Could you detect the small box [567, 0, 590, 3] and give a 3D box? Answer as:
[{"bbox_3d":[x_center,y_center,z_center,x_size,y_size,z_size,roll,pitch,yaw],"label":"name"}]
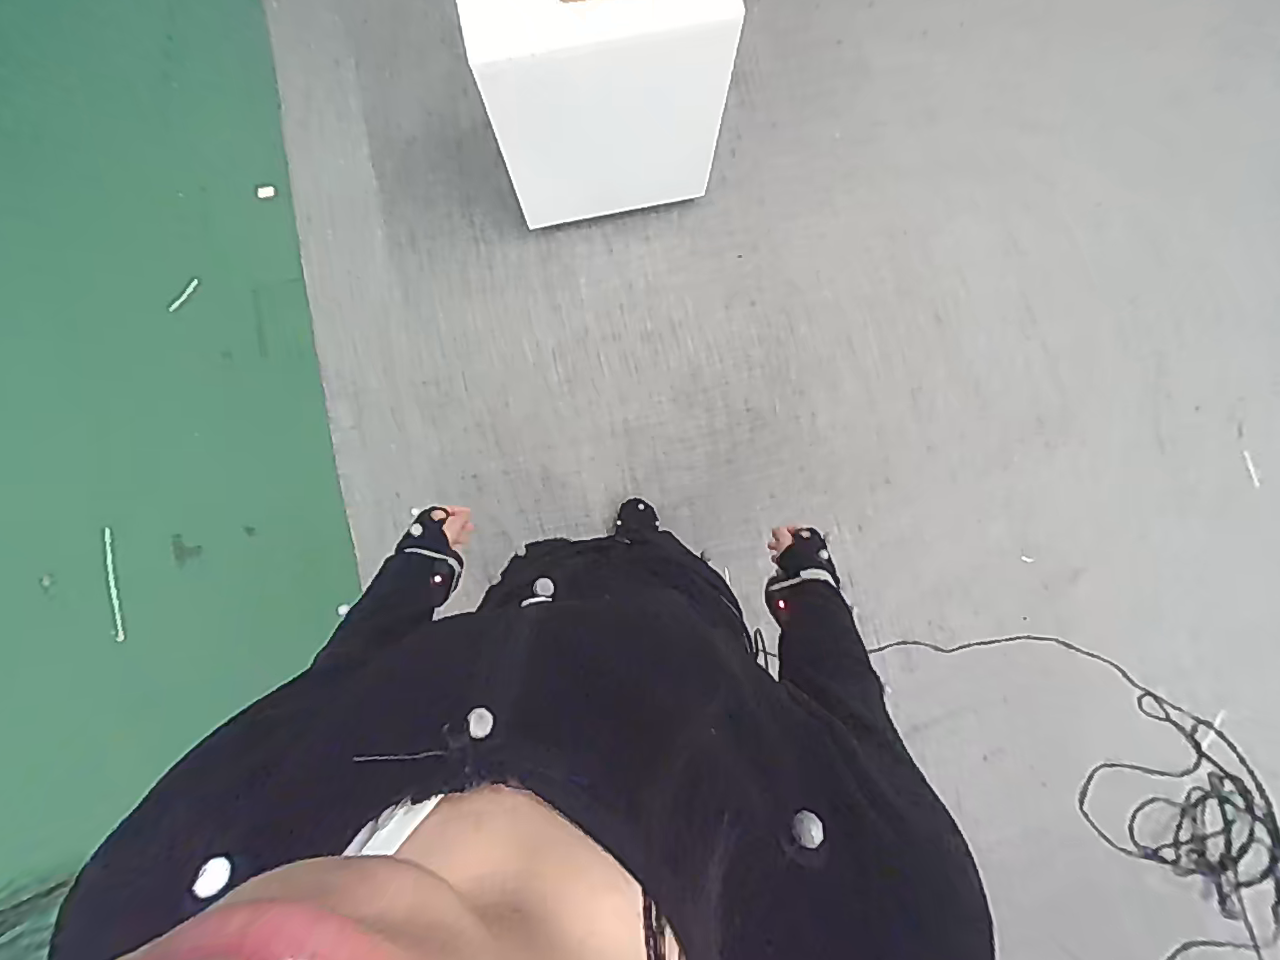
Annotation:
[{"bbox_3d":[-0.074,-0.950,0.891,0.168,0.176,0.179,-9,85,-1],"label":"small box"}]
